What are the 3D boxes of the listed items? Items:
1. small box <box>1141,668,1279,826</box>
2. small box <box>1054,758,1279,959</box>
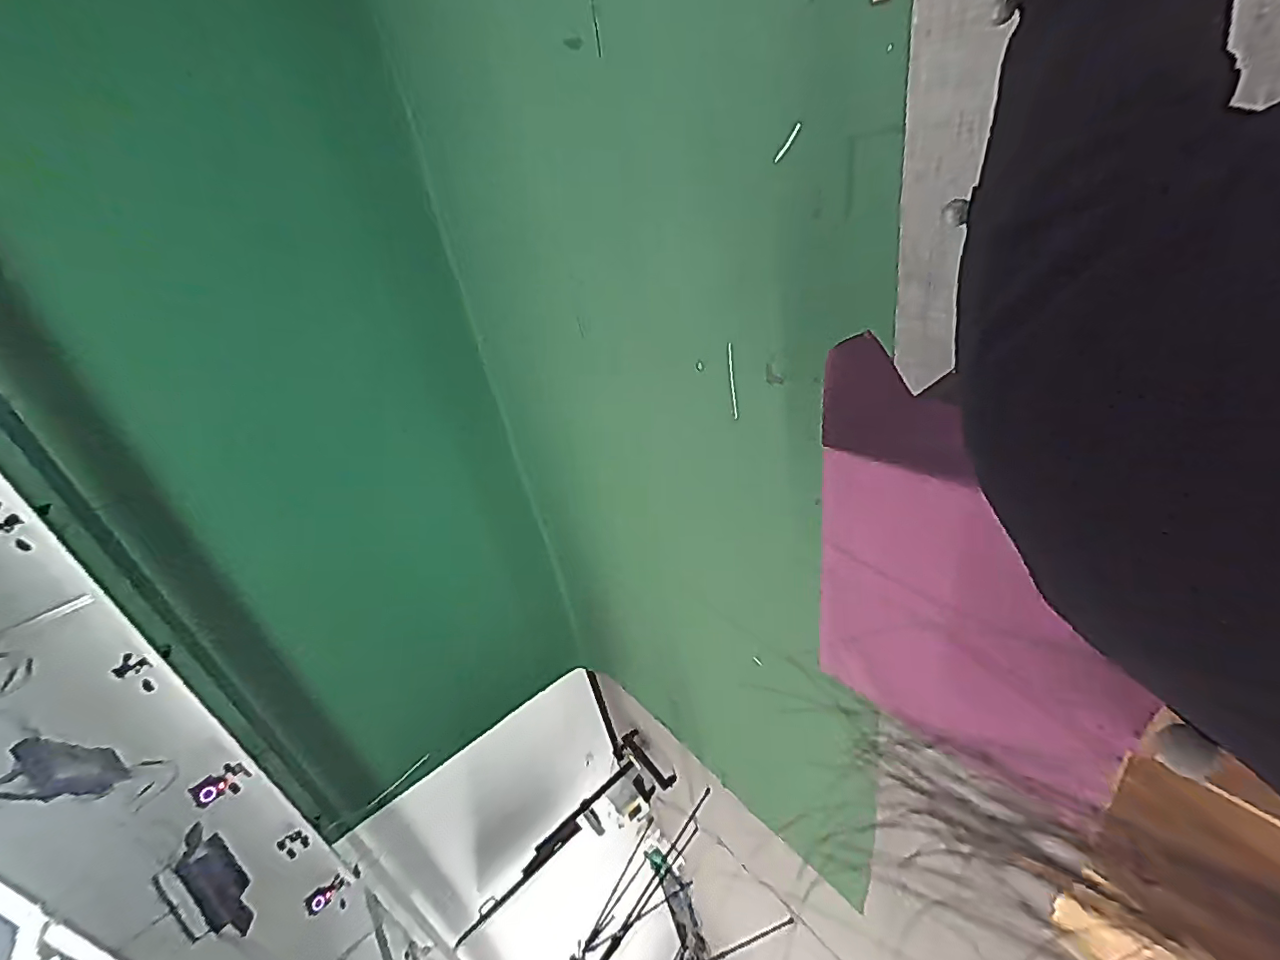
[{"bbox_3d":[0.699,0.360,0.620,0.168,0.176,0.179,29,138,42],"label":"small box"},{"bbox_3d":[0.572,0.431,0.548,0.179,0.176,0.168,28,138,44],"label":"small box"}]
